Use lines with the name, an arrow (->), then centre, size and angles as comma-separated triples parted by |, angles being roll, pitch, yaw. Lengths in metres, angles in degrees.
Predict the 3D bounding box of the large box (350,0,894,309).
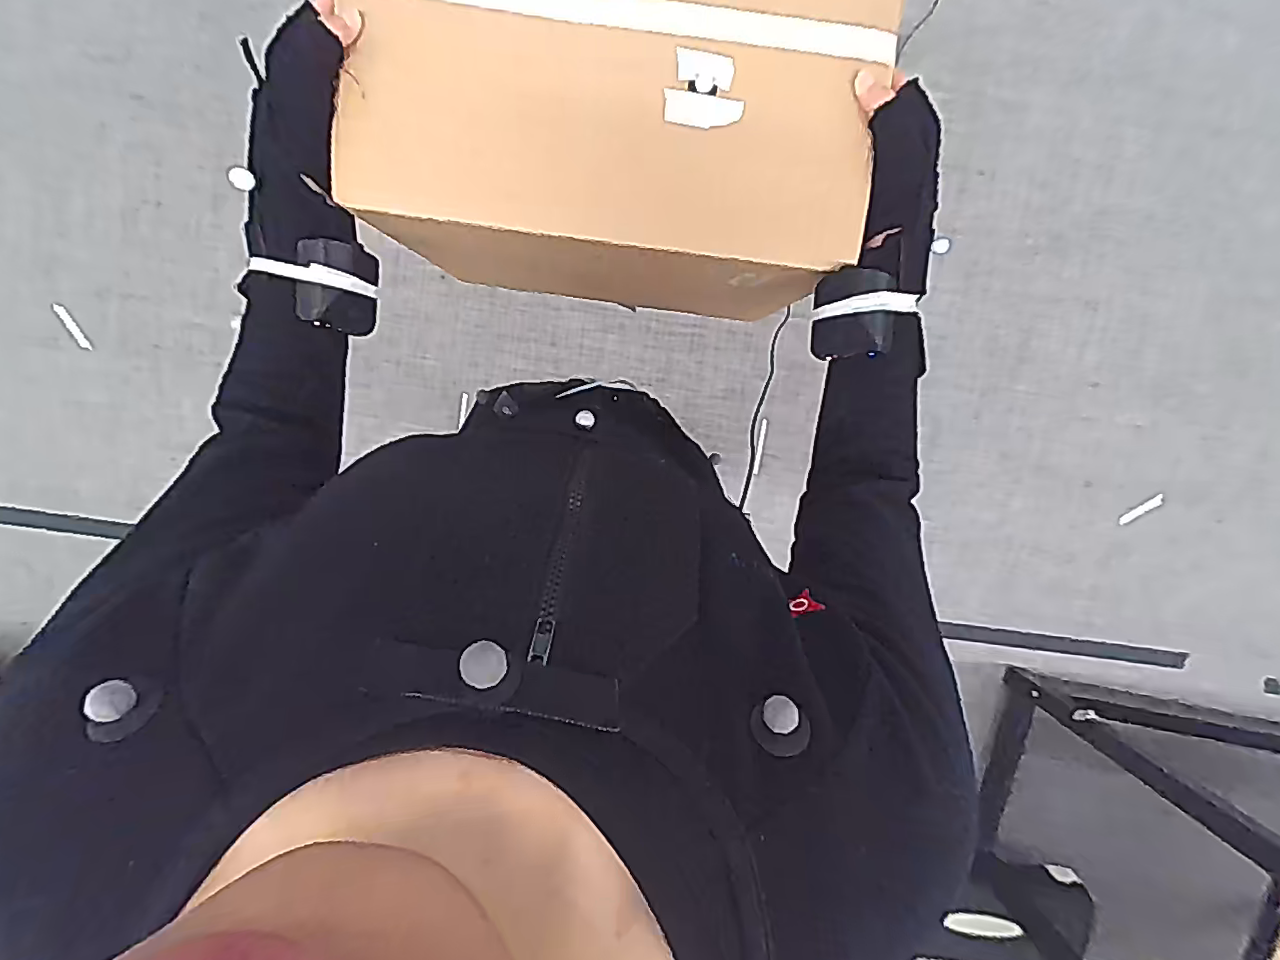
large box -> -0.017, -0.371, 0.547 | 0.408, 0.320, 0.320 | 6, 101, -3
